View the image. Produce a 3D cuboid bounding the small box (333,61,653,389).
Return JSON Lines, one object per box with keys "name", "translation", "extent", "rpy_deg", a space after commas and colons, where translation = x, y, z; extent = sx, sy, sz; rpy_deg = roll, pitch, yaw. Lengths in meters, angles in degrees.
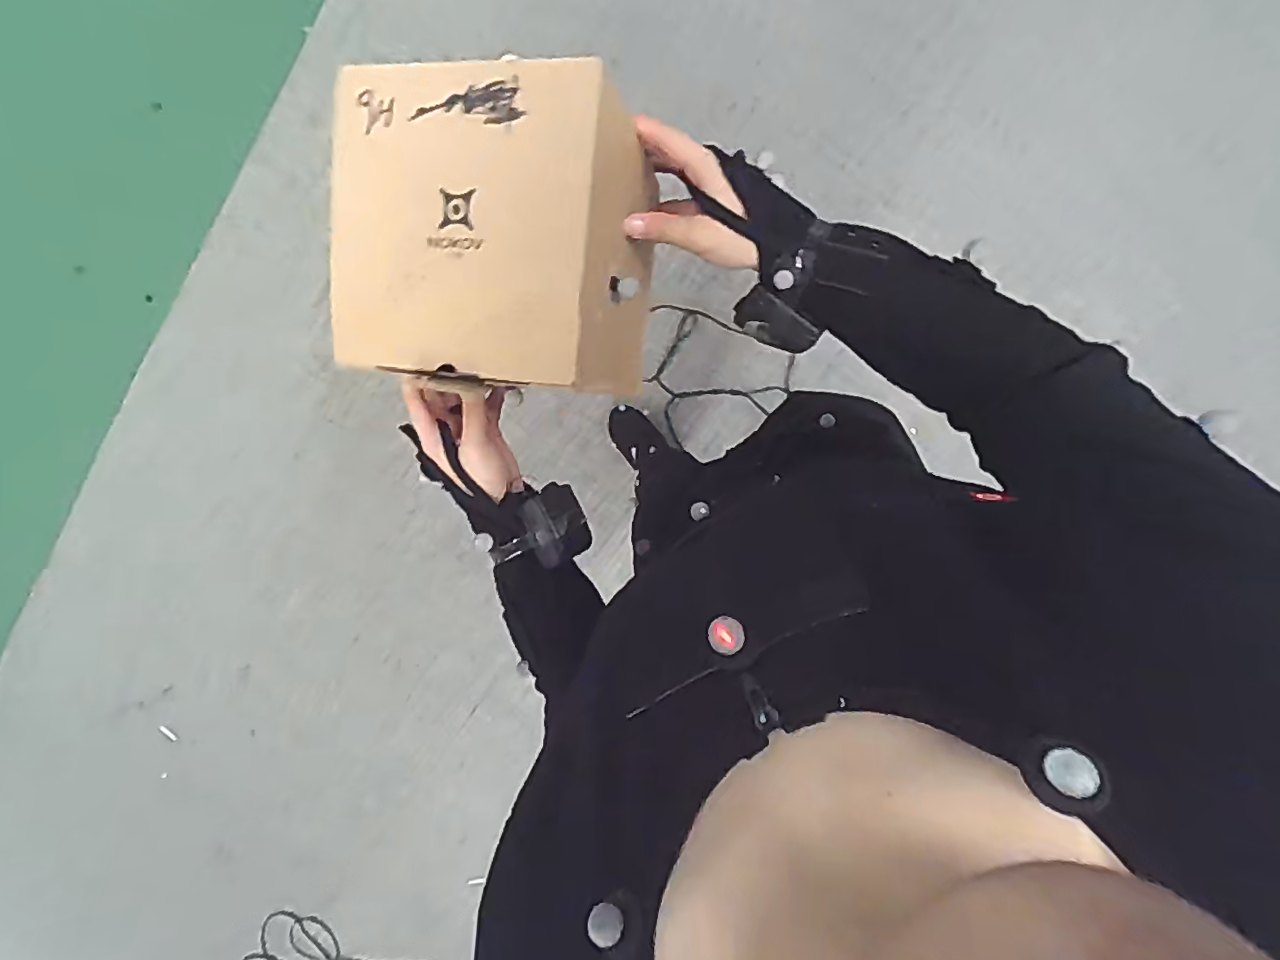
{"name": "small box", "translation": [-0.092, -0.162, 0.397], "extent": [0.168, 0.176, 0.179], "rpy_deg": [8, 100, 12]}
